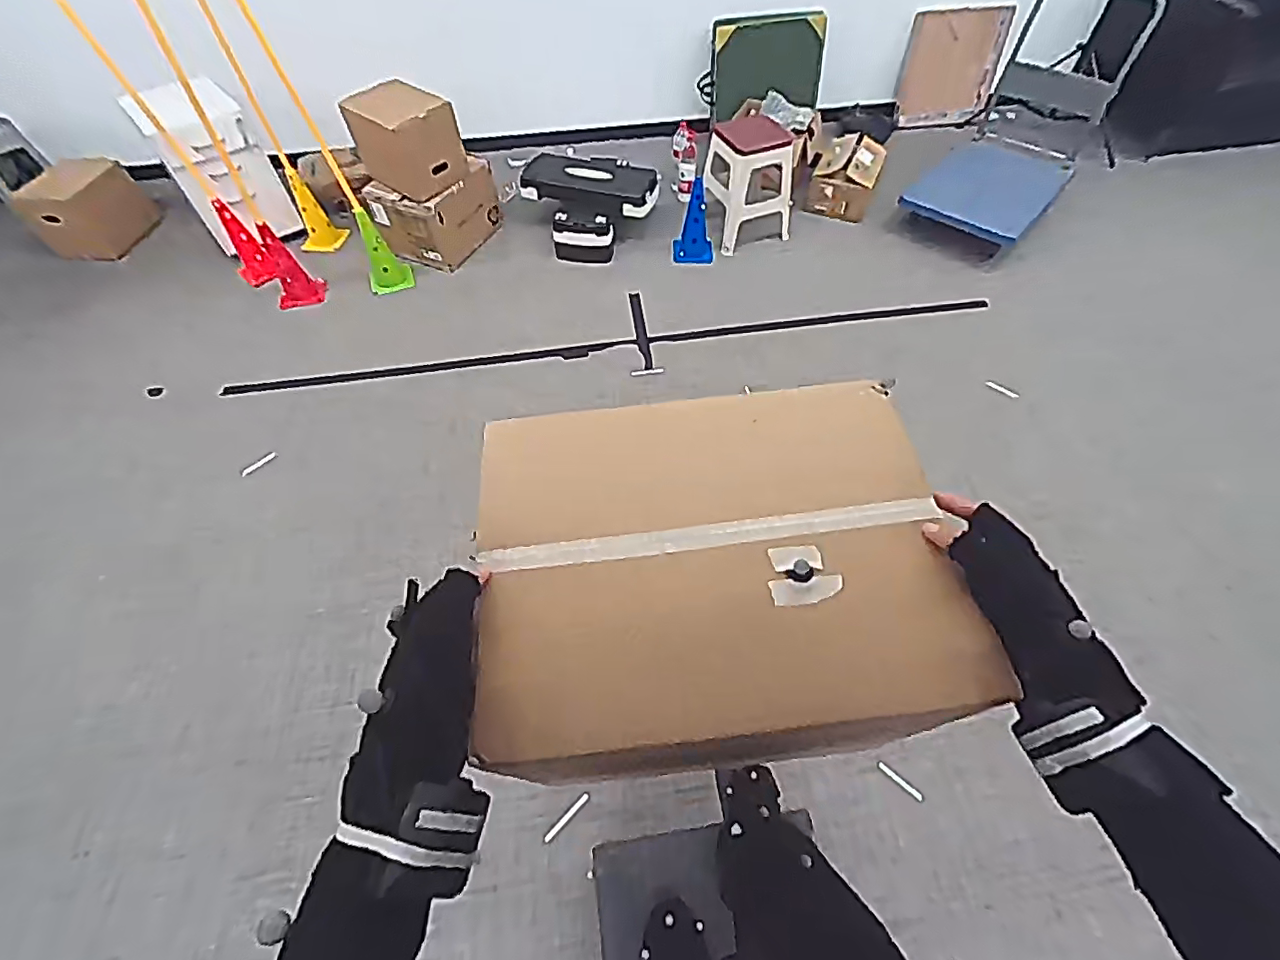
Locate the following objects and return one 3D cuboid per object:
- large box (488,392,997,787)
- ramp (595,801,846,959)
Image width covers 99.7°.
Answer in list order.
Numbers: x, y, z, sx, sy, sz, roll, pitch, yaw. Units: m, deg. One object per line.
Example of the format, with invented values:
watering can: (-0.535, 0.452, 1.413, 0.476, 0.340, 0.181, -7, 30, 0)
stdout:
large box: (0.068, 0.138, 0.613, 0.408, 0.320, 0.320, -7, 58, -2)
ramp: (0.216, 1.206, 1.008, 0.509, 0.206, 0.991, -9, 56, -6)
